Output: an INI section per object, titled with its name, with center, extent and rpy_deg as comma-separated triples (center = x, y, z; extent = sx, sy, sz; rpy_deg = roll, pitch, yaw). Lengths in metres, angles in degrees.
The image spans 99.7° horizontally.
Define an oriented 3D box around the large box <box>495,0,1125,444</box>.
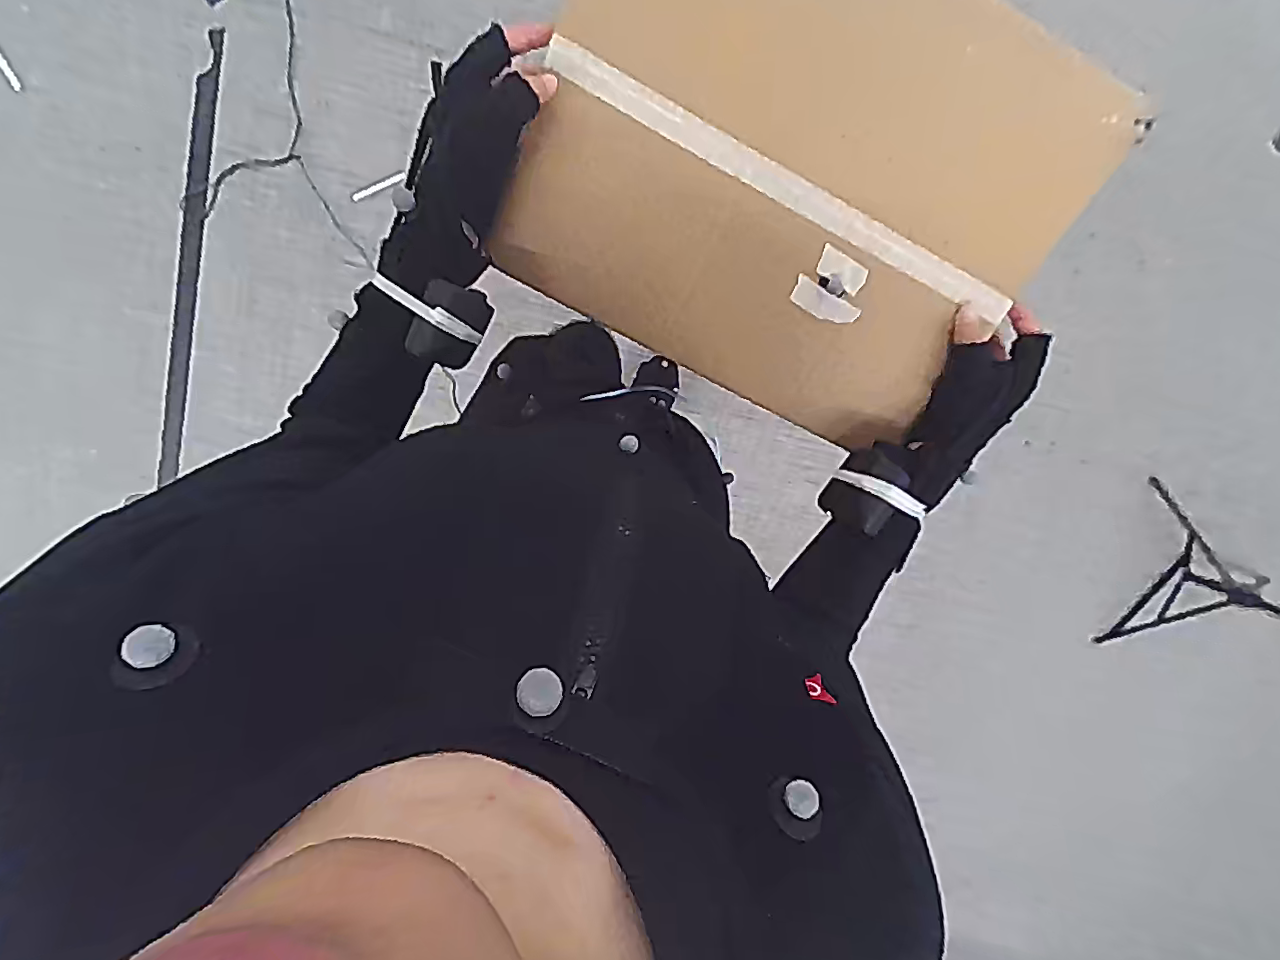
[large box]
center = 0.121, -0.297, 0.563
extent = 0.408, 0.320, 0.320
rpy_deg = 25, 115, -9
